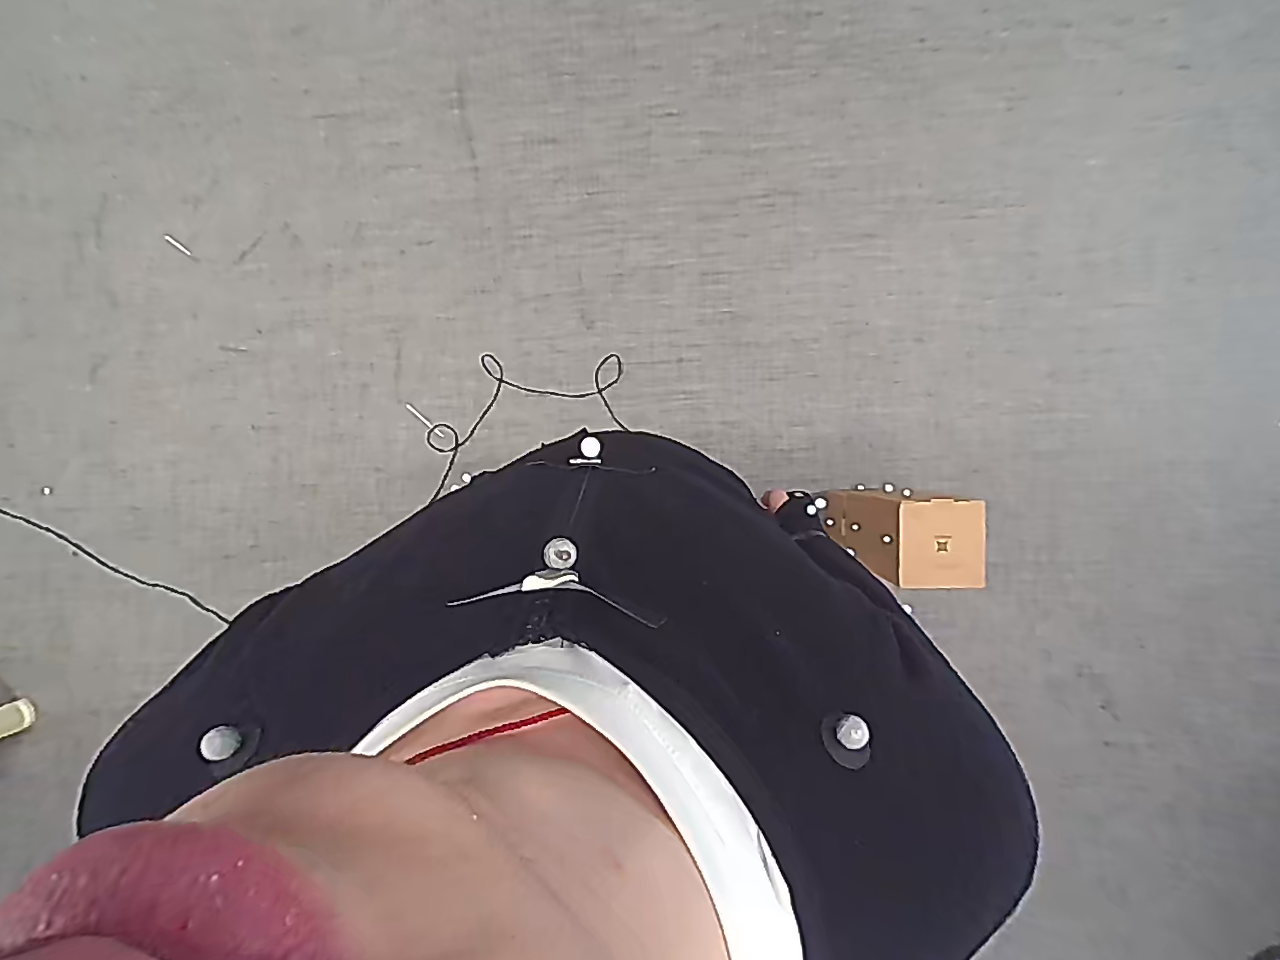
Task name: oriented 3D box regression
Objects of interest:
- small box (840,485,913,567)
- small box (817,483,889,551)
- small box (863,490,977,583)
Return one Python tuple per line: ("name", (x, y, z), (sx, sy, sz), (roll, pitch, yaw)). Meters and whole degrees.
("small box", (0.600, 0.108, 1.319), (0.168, 0.176, 0.179), (0, 95, -1))
("small box", (0.602, 0.099, 1.505), (0.179, 0.176, 0.168), (-4, 93, 0))
("small box", (0.591, 0.113, 1.160), (0.168, 0.176, 0.179), (-2, 95, 2))
